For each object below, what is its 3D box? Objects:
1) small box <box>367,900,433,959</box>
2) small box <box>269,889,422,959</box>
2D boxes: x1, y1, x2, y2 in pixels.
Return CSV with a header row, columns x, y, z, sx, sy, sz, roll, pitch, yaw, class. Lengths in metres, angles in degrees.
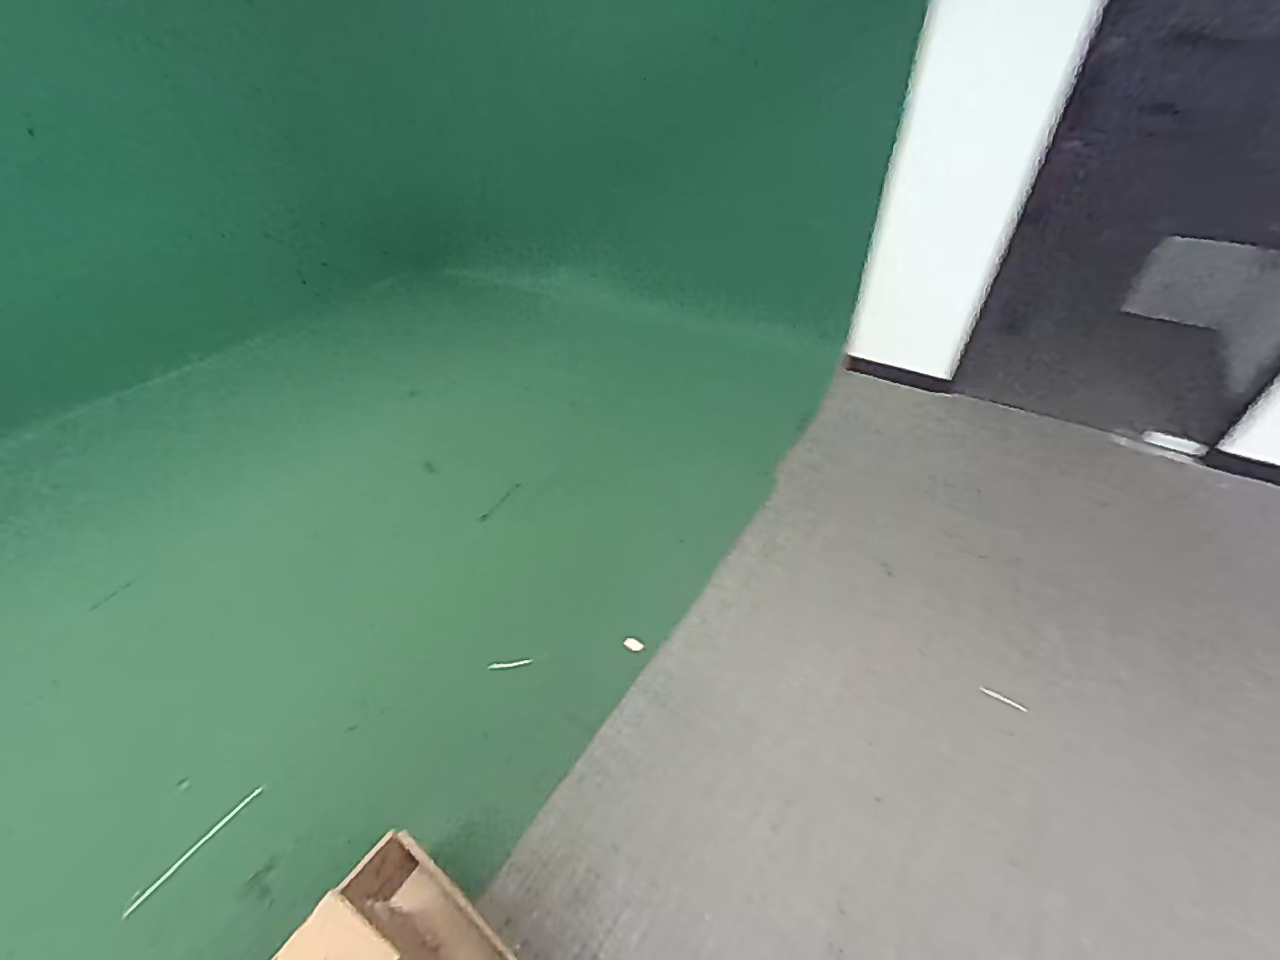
x,y,z,sx,sy,sz,roll,pitch,yaw,class
-0.496,0.945,1.009,0.179,0.176,0.168,29,52,28,small box
-0.498,0.829,0.894,0.179,0.176,0.168,22,51,21,small box
